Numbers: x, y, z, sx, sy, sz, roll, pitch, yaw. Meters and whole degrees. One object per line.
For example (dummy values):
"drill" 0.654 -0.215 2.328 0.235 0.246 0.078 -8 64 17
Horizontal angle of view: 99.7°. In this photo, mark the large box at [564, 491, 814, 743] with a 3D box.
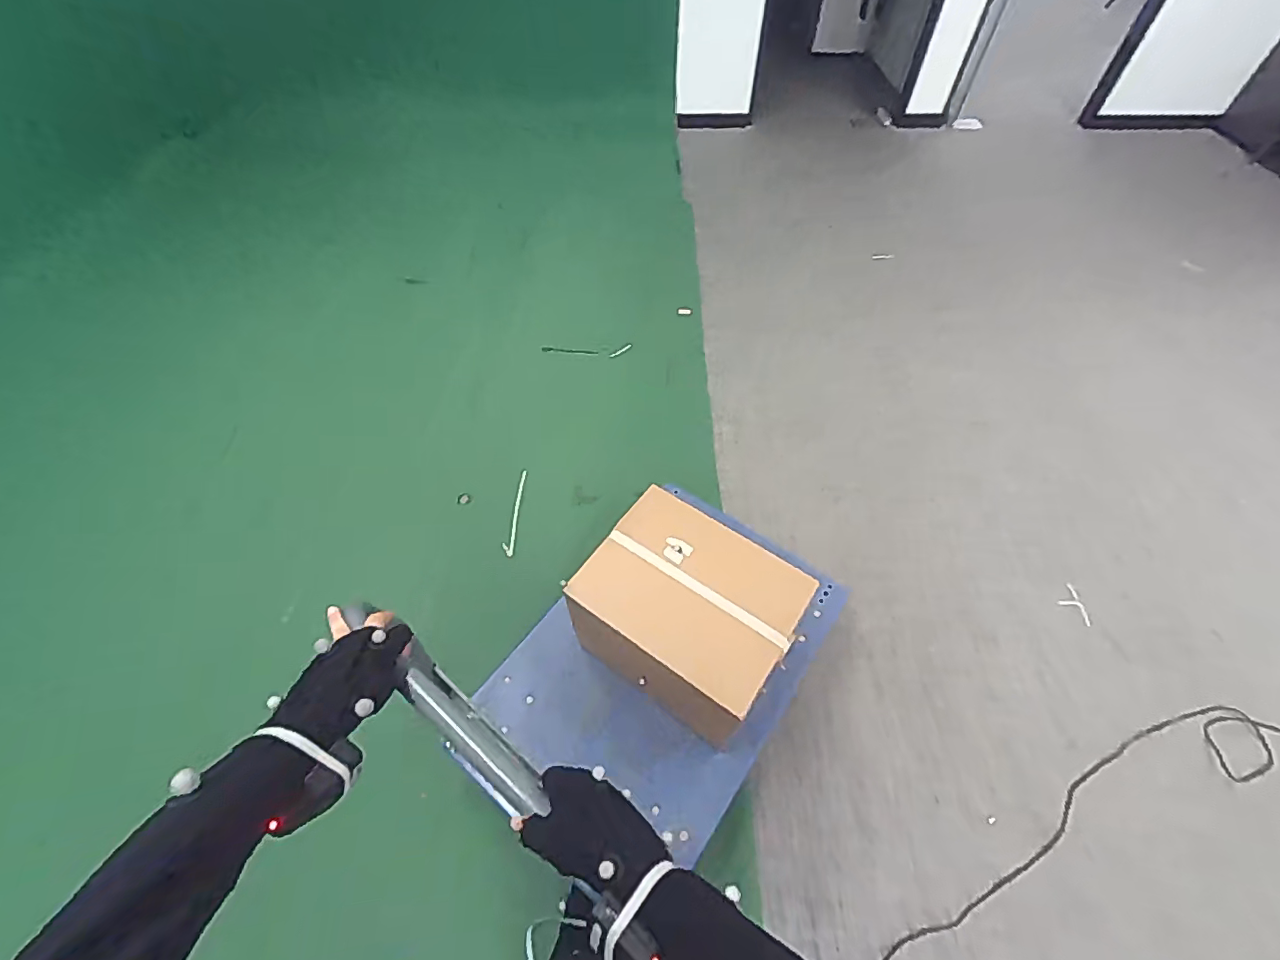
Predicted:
"large box" 0.102 0.300 1.182 0.408 0.320 0.320 30 59 21
